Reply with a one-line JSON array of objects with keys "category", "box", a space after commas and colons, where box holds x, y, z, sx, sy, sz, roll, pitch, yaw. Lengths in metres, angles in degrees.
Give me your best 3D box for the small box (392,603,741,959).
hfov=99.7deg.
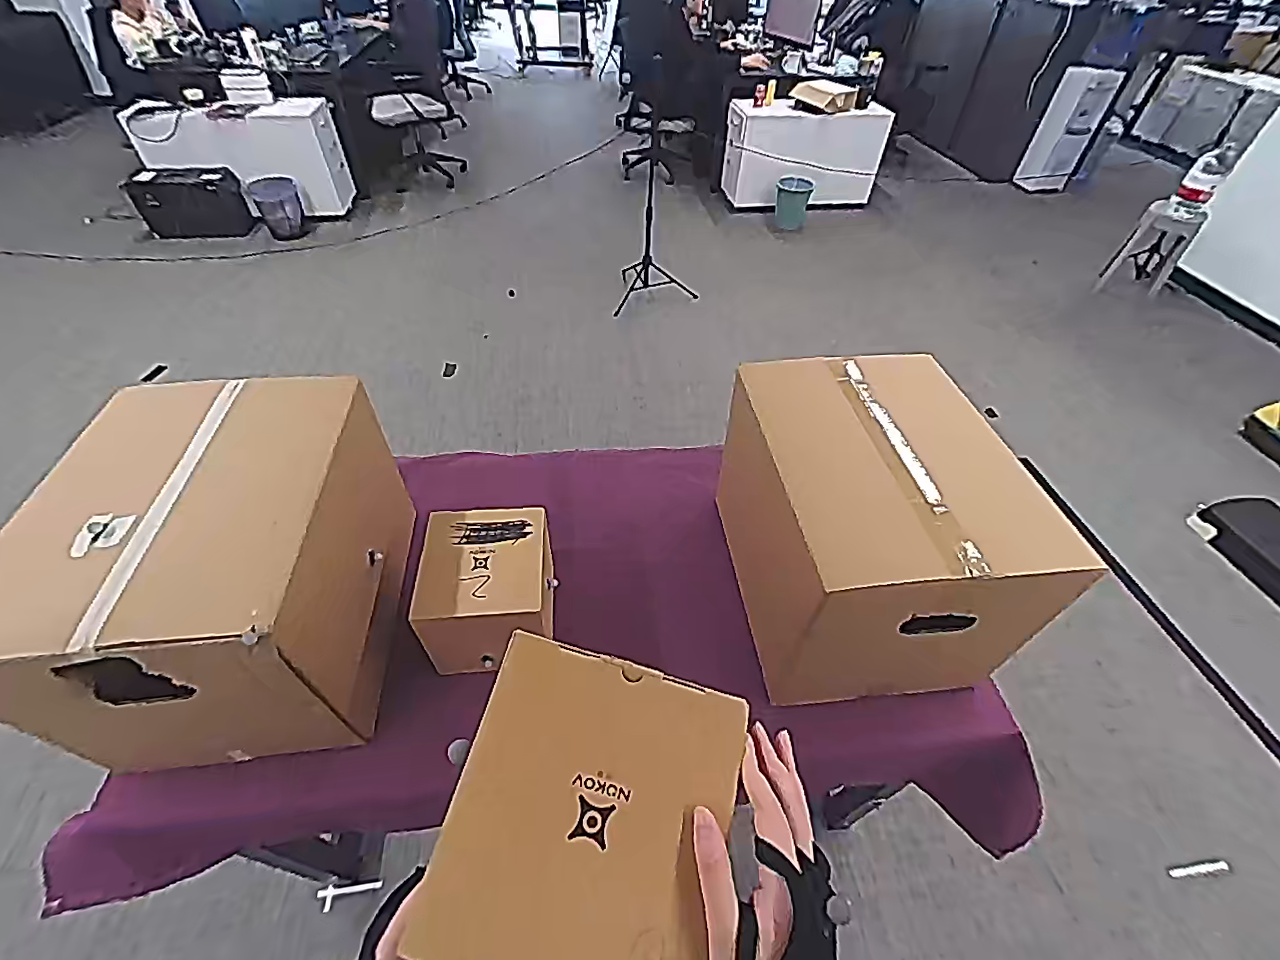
[{"category": "small box", "box": [-0.024, 0.202, 0.363, 0.179, 0.176, 0.168, 3, 41, 12]}]
